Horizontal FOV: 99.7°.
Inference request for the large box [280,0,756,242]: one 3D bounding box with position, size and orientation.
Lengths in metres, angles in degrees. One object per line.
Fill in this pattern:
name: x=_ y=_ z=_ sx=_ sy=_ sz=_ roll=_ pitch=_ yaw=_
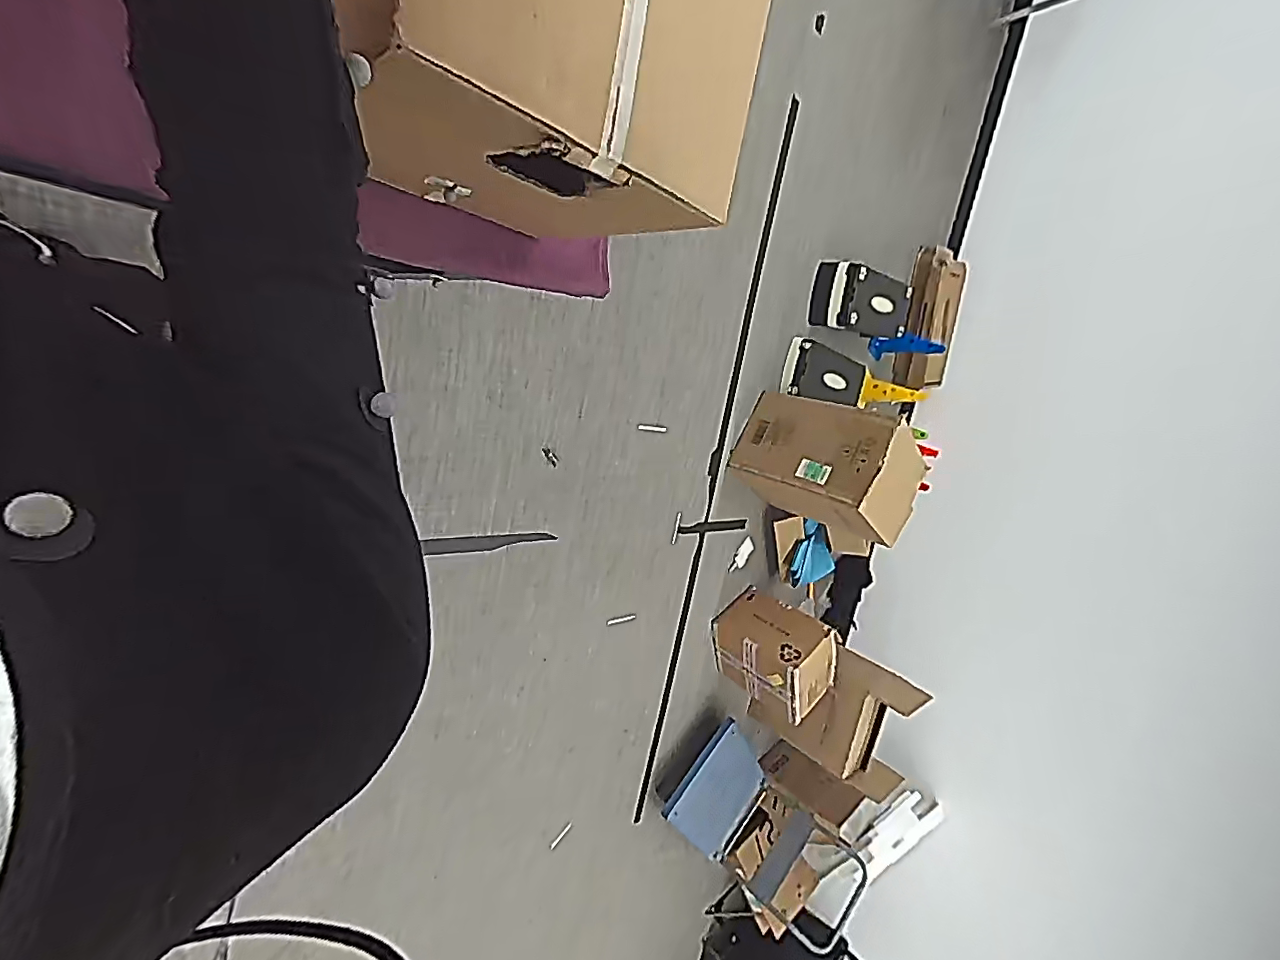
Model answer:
large box: x=-0.104 y=-0.469 z=0.481 sx=0.320 sy=0.320 sz=0.408 roll=0 pitch=104 yaw=-46
